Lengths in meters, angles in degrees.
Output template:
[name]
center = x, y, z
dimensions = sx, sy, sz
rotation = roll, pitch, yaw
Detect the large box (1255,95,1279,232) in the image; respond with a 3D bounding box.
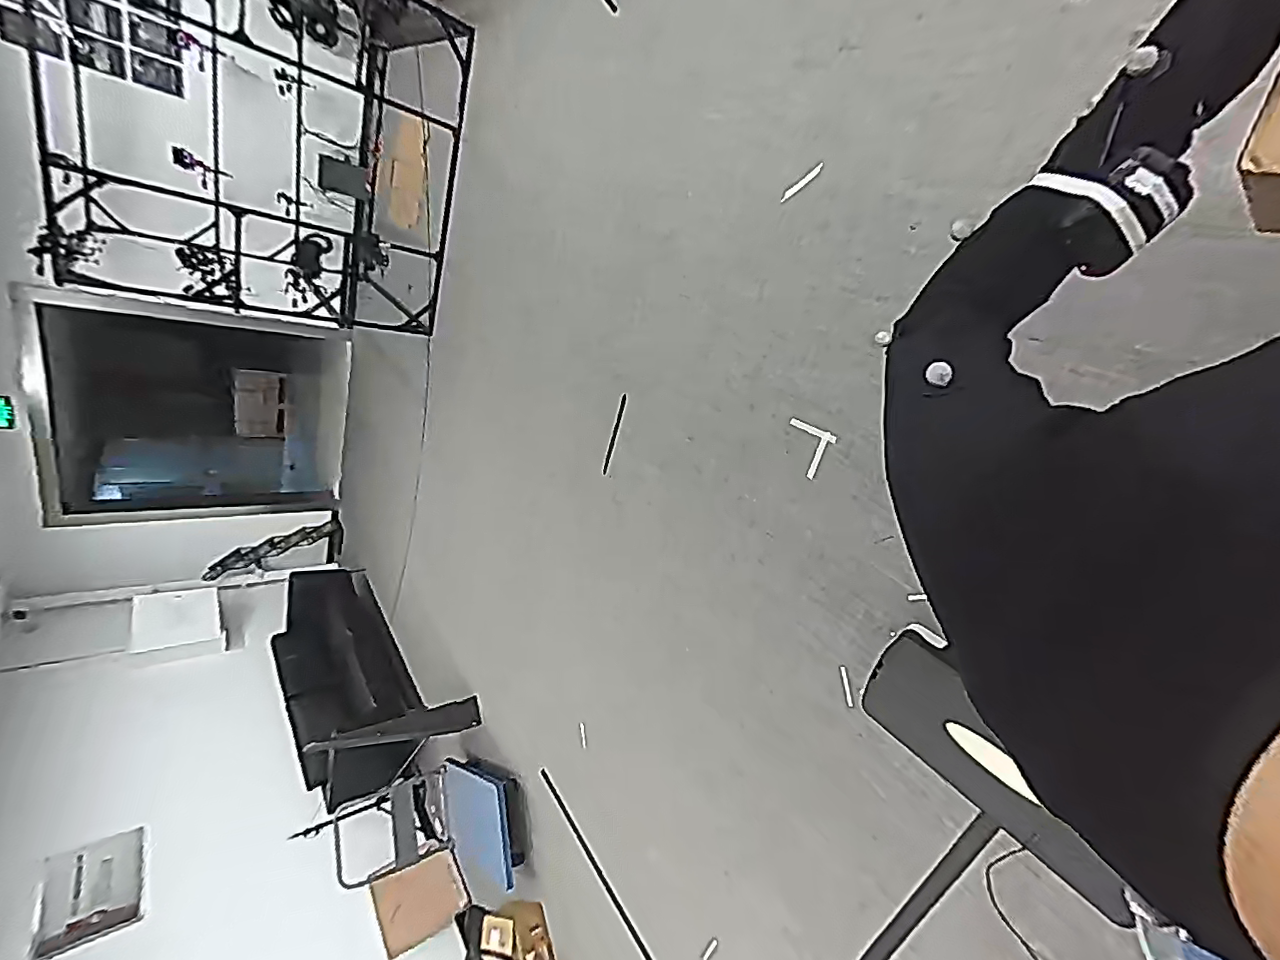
[large box]
center = 0.666, -0.308, 0.273
dimensions = 0.408, 0.320, 0.320
rotation = 28, 121, 42
